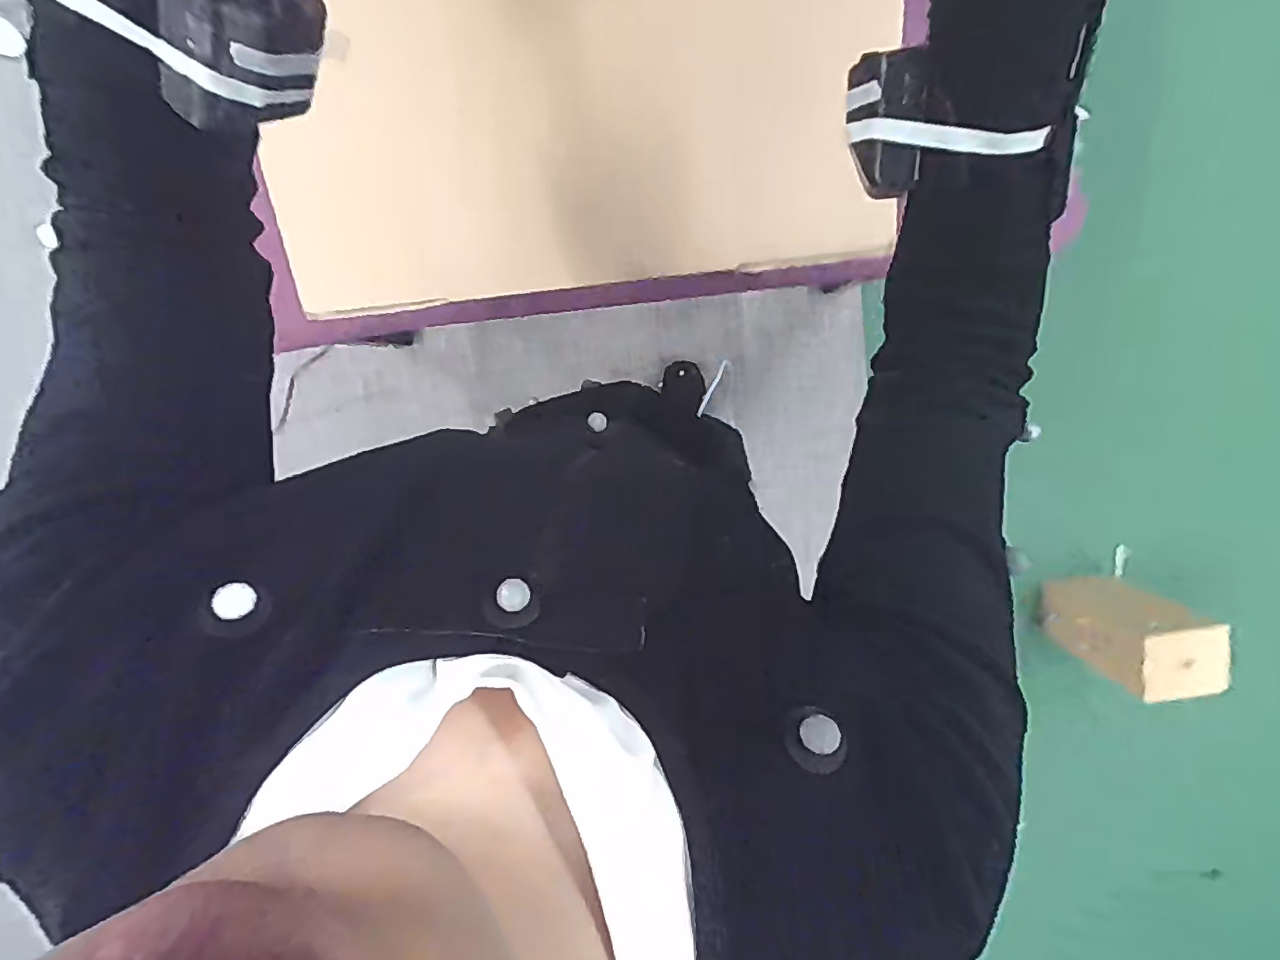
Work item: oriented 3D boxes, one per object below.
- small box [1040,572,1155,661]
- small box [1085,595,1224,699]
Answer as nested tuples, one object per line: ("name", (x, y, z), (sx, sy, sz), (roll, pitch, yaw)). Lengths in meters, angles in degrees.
("small box", (1.214, 0.357, 1.442), (0.179, 0.176, 0.168), (-9, 101, 4))
("small box", (1.210, 0.388, 1.282), (0.179, 0.176, 0.168), (-11, 102, 5))
